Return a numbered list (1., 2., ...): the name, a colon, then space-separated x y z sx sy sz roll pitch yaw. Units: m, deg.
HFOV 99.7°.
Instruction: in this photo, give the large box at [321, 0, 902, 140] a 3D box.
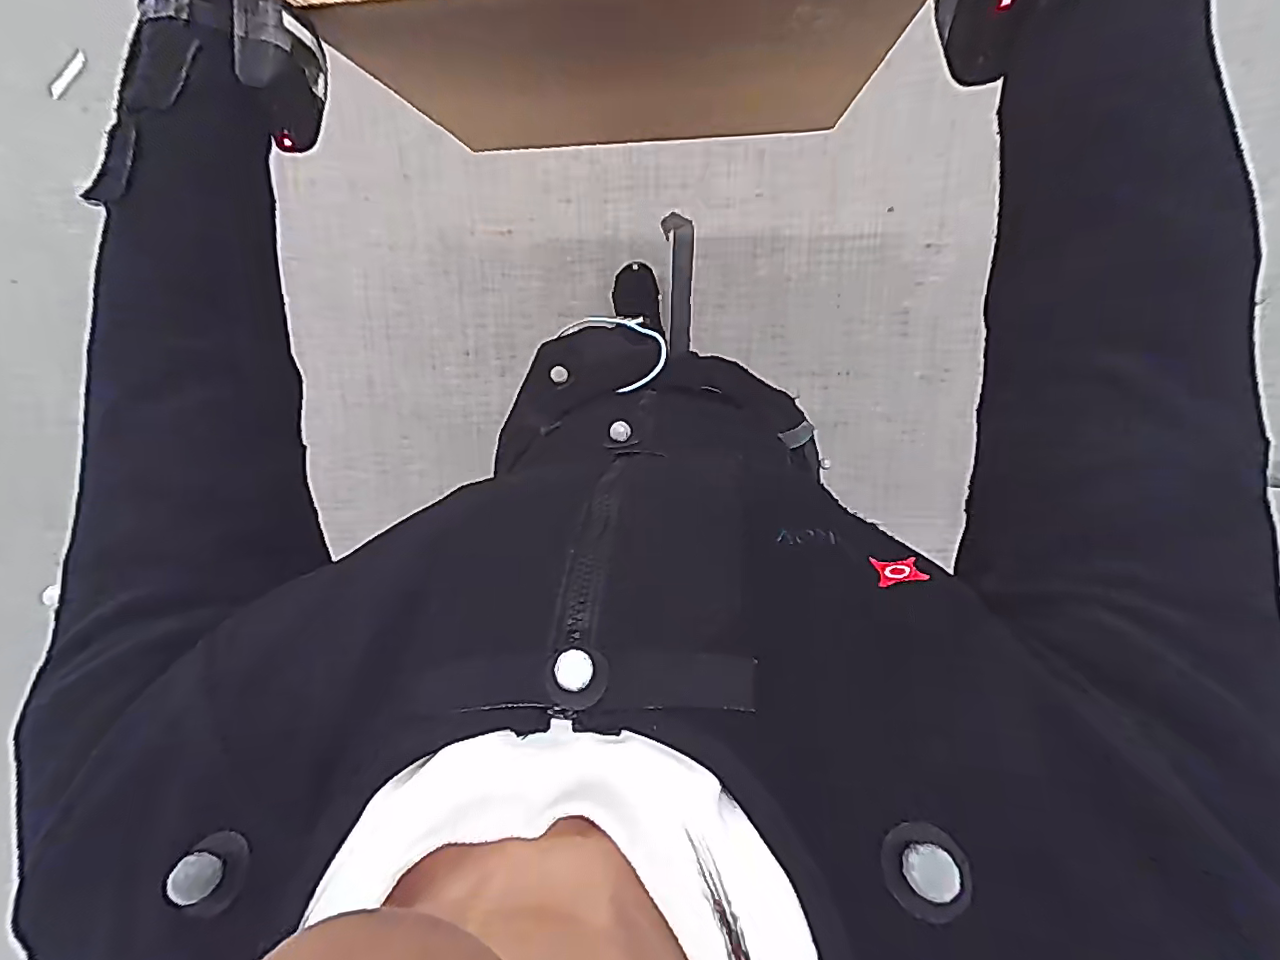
1. large box: -0.011 -0.494 0.413 0.408 0.320 0.320 -1 108 5
